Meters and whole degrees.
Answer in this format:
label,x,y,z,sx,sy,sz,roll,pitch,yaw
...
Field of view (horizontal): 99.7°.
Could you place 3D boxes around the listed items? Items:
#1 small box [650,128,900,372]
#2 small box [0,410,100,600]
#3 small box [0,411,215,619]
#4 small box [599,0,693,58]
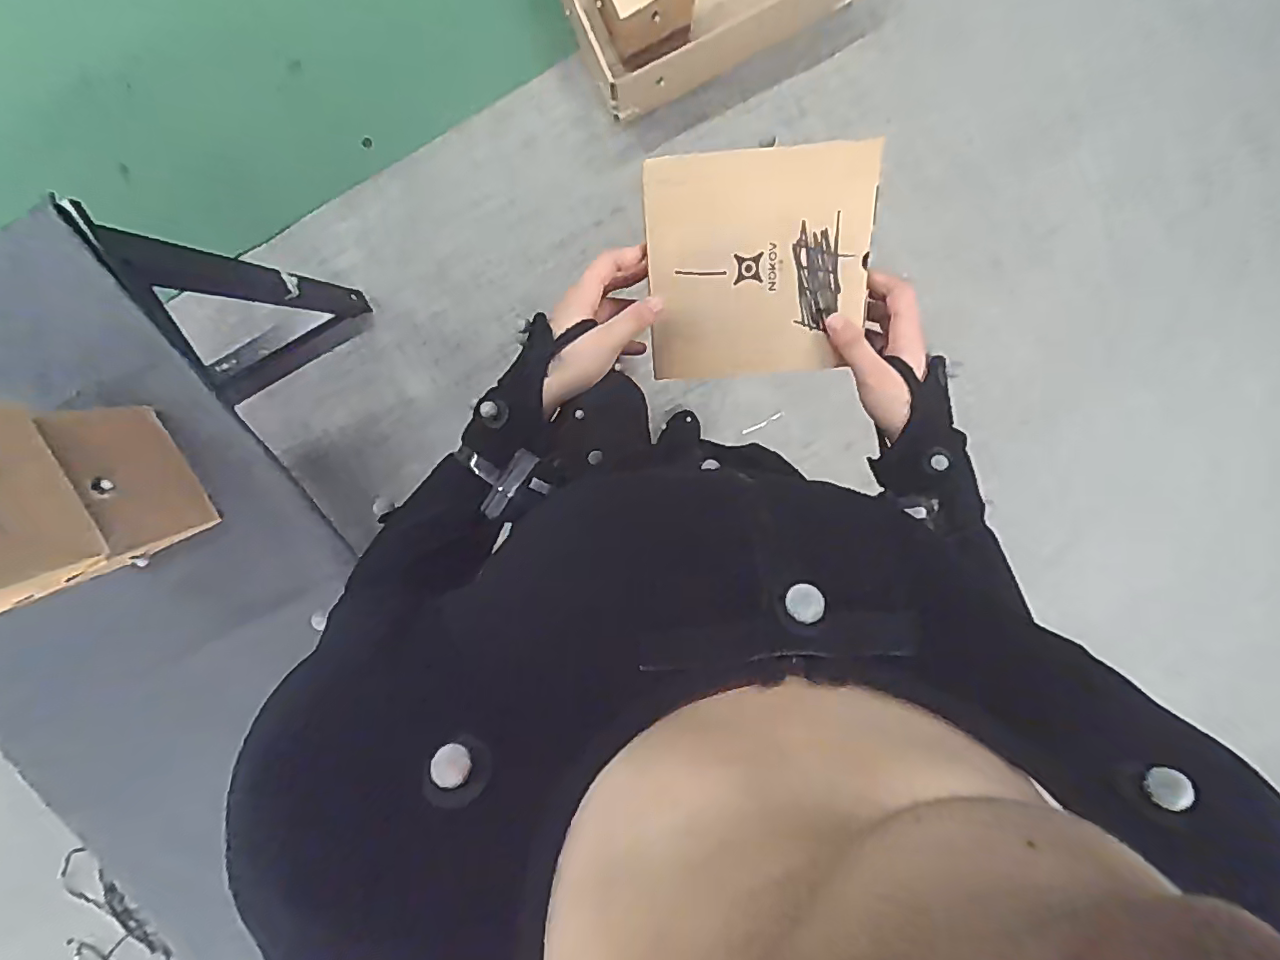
label,x,y,z,sx,sy,sz,roll,pitch,yaw
small box,0.101,-0.202,0.483,0.179,0.176,0.168,-4,115,3
small box,-0.662,0.048,0.481,0.168,0.176,0.179,-21,102,4
small box,-0.672,0.031,0.645,0.168,0.176,0.179,-24,100,4
small box,0.006,-1.030,1.116,0.179,0.176,0.168,-26,102,4
